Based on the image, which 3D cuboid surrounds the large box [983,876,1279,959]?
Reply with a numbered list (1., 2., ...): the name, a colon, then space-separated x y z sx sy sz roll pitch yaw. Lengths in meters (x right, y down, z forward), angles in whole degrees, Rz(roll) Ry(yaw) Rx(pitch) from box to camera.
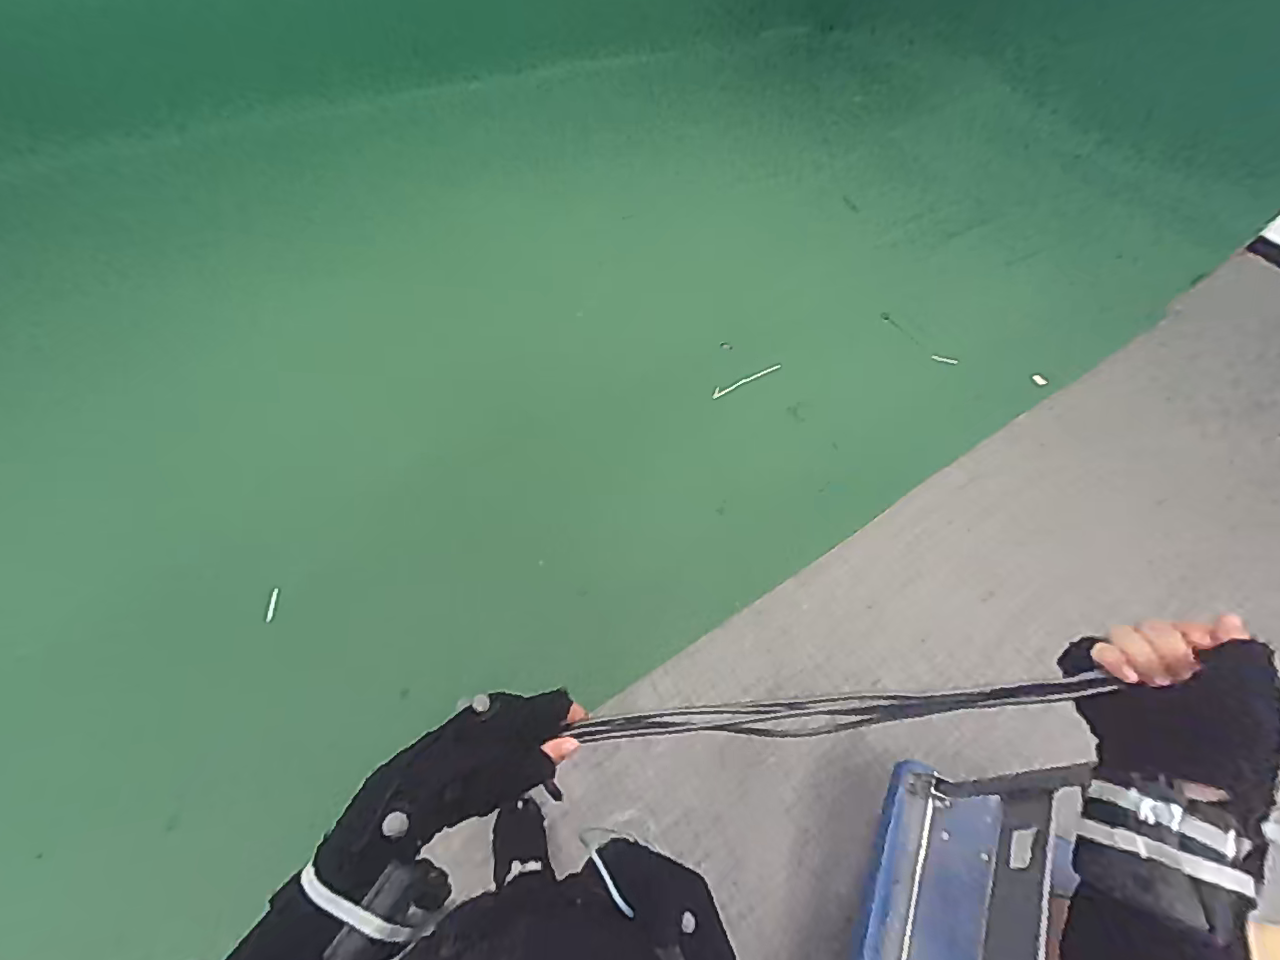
1. large box: 0.822 0.892 0.849 0.320 0.320 0.408 7 57 -1
